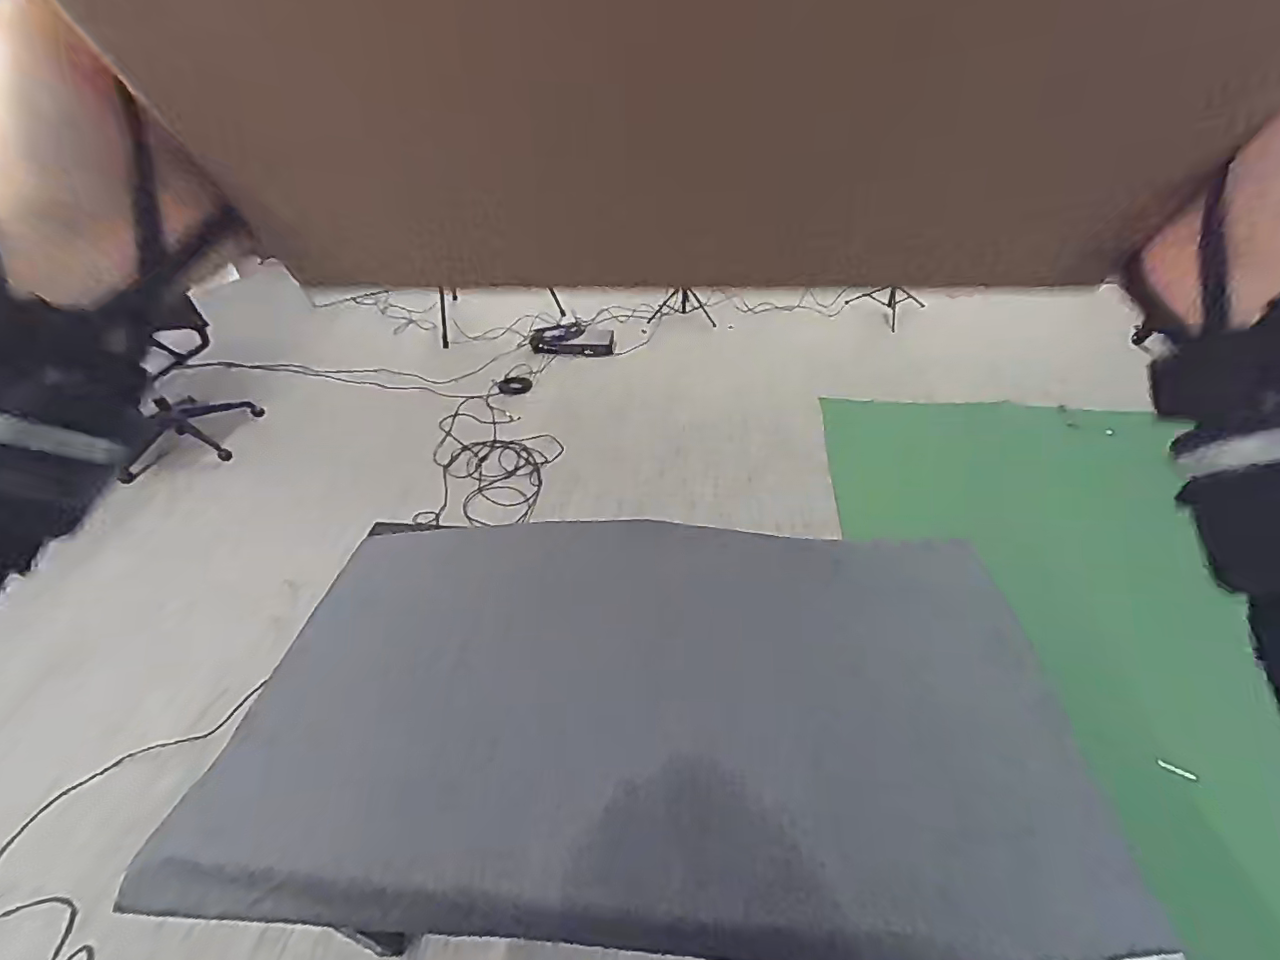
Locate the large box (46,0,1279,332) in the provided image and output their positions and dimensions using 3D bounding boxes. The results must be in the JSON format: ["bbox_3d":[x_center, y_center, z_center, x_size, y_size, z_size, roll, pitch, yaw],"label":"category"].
[{"bbox_3d":[0.016,-0.280,0.222,0.408,0.320,0.320,1,68,3],"label":"large box"}]
